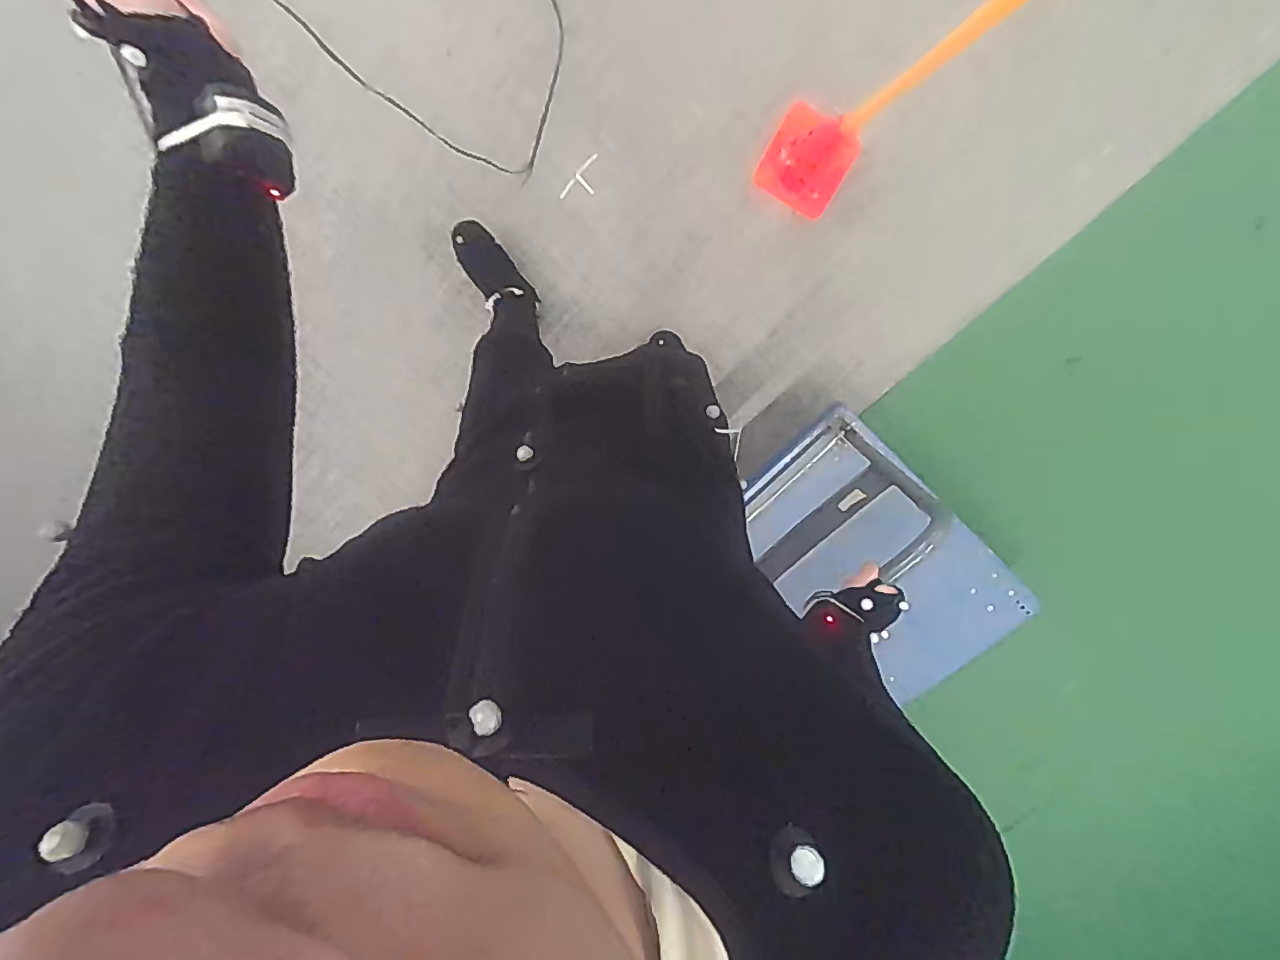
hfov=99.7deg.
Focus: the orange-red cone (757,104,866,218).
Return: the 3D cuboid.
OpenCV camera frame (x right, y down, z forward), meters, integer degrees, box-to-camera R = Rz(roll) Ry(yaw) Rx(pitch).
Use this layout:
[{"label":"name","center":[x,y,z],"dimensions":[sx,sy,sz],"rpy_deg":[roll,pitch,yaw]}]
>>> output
[{"label":"orange-red cone","center":[0.406,-0.718,1.163],"dimensions":[0.198,0.360,0.199],"rpy_deg":[29,108,-9]}]
